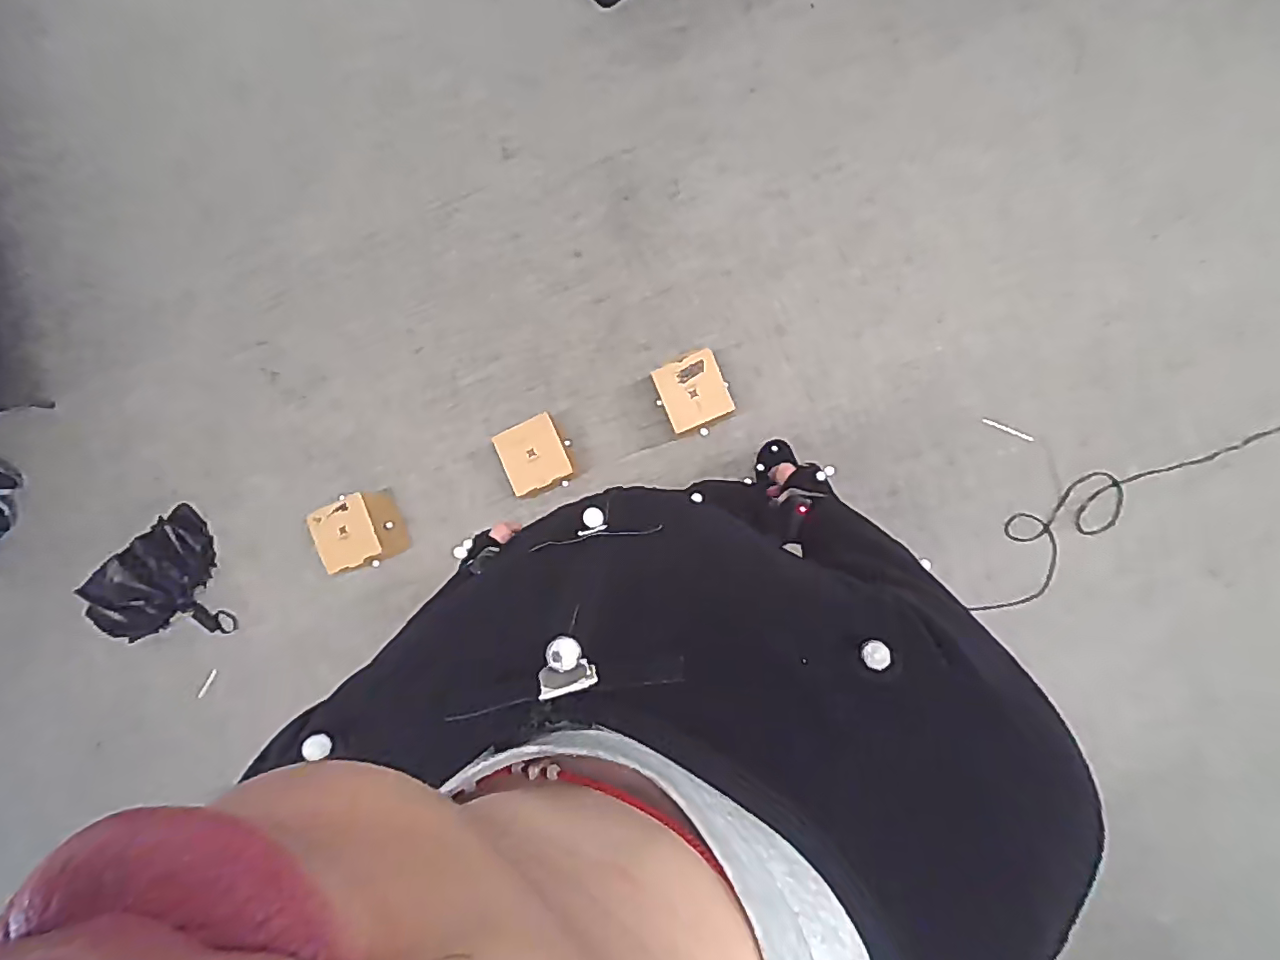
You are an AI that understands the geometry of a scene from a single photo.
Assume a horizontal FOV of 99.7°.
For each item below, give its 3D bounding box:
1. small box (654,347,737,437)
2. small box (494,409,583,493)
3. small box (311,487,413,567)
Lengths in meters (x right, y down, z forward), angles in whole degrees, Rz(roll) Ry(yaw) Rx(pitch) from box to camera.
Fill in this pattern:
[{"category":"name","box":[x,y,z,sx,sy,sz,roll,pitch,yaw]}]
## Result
[{"category":"small box","box":[0.146,-0.227,1.449,0.168,0.176,0.179,-21,87,5]},{"category":"small box","box":[-0.271,-0.073,1.487,0.168,0.176,0.179,-24,85,3]},{"category":"small box","box":[-0.774,0.126,1.524,0.168,0.176,0.179,-22,87,3]}]
